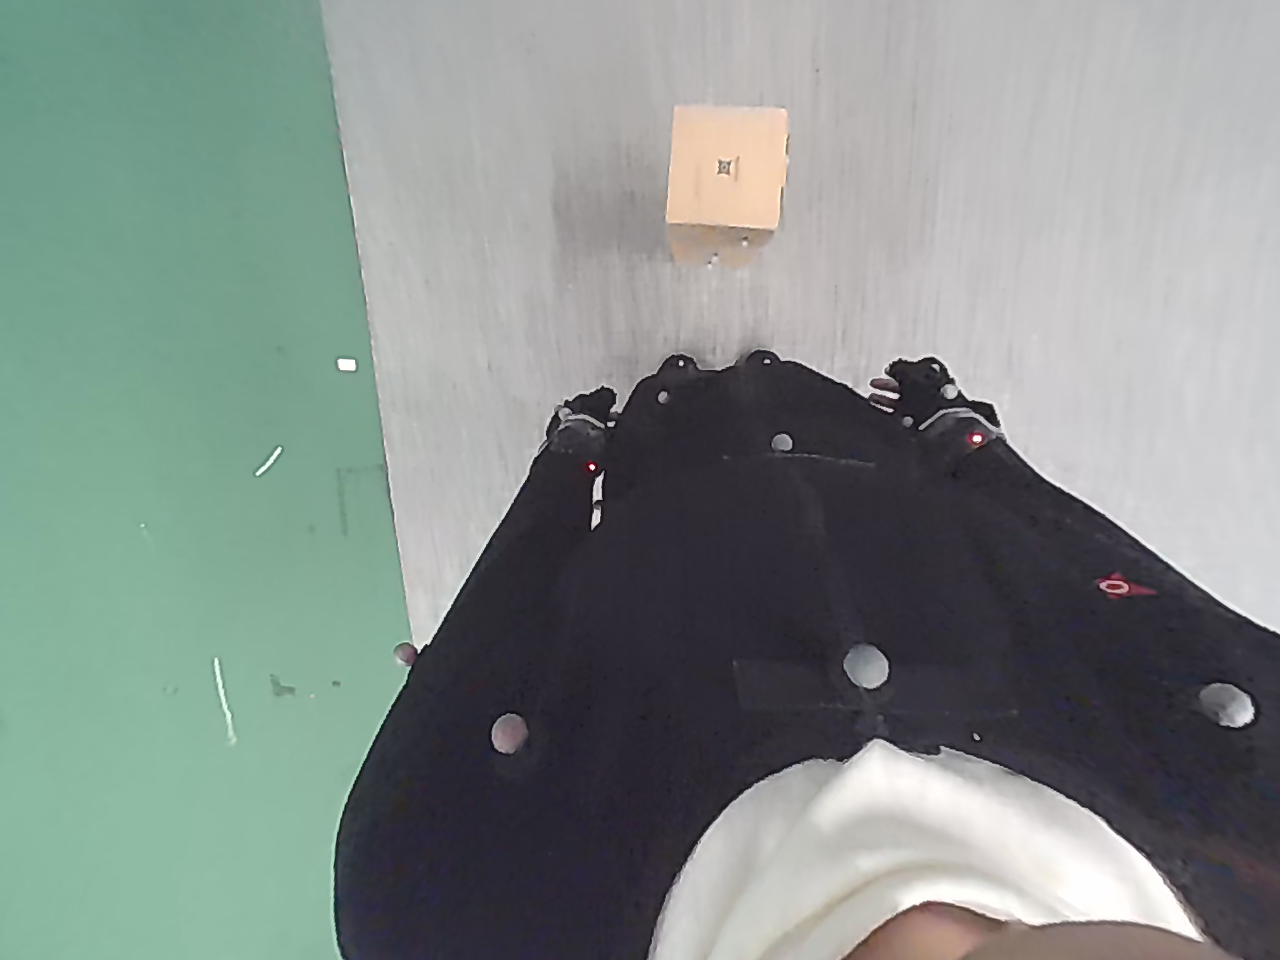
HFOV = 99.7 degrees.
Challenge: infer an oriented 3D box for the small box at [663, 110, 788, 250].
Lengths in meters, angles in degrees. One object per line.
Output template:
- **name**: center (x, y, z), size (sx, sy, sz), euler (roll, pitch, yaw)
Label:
- **small box**: center (0.135, -0.485, 0.896), size (0.179, 0.176, 0.168), euler (5, 103, 5)

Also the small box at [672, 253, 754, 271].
- **small box**: center (0.167, -0.569, 1.209), size (0.179, 0.176, 0.168), euler (5, 104, 5)

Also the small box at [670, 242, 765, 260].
- **small box**: center (0.152, -0.528, 1.054), size (0.179, 0.176, 0.168), euler (3, 106, 6)
